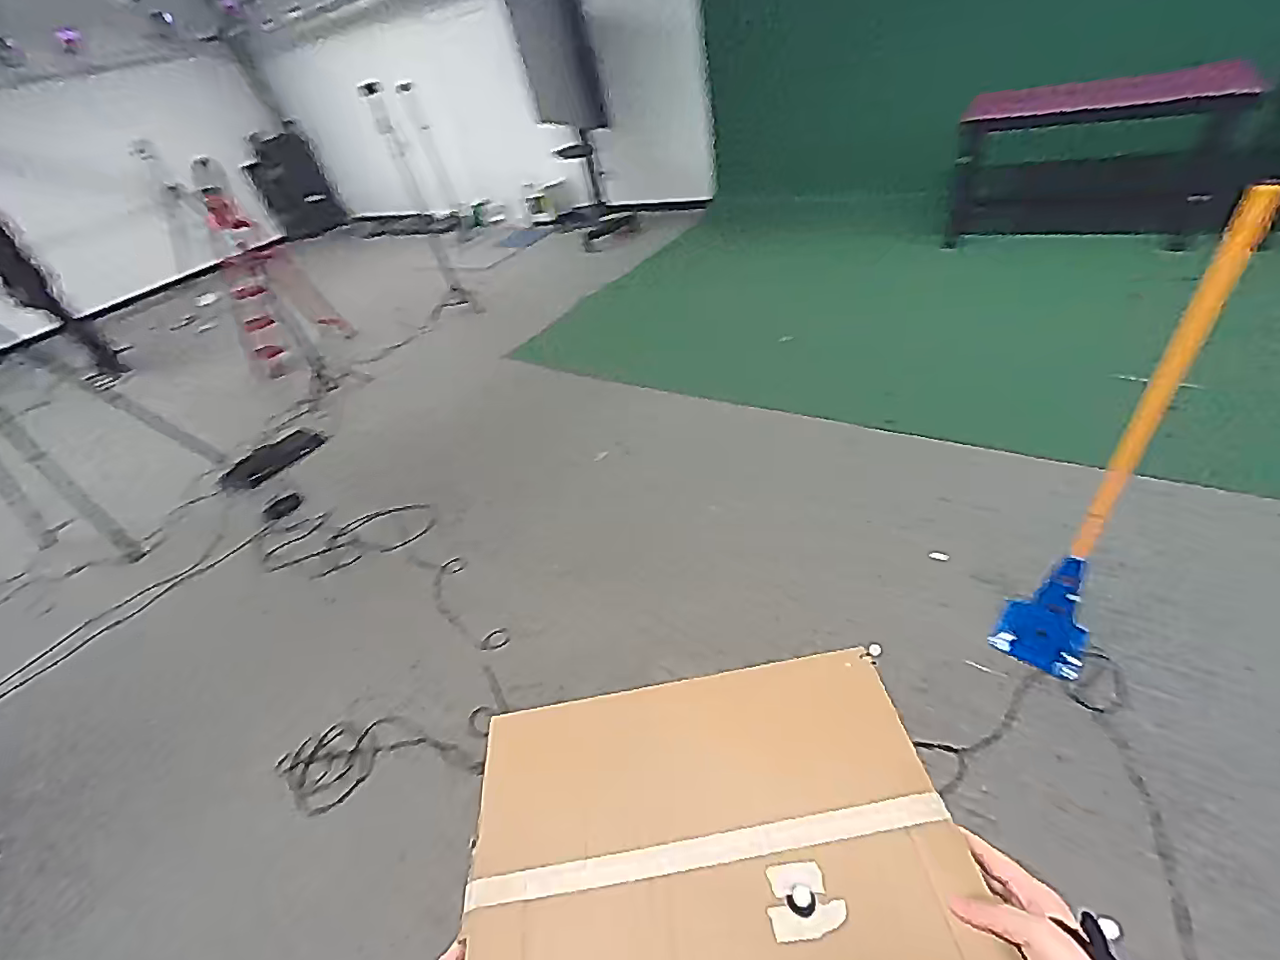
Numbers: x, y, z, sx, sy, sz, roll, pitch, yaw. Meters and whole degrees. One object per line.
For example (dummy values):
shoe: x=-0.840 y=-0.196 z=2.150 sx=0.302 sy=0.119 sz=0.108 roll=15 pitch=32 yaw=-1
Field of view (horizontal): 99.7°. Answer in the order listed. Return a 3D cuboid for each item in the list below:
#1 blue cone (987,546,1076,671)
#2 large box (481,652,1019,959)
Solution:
blue cone: x=1.099 y=0.325 z=1.461 sx=0.193 sy=0.380 sz=0.192 roll=25 pitch=52 yaw=38
large box: x=0.084 y=0.427 z=0.555 sx=0.408 sy=0.320 sz=0.320 roll=-10 pitch=40 yaw=1
